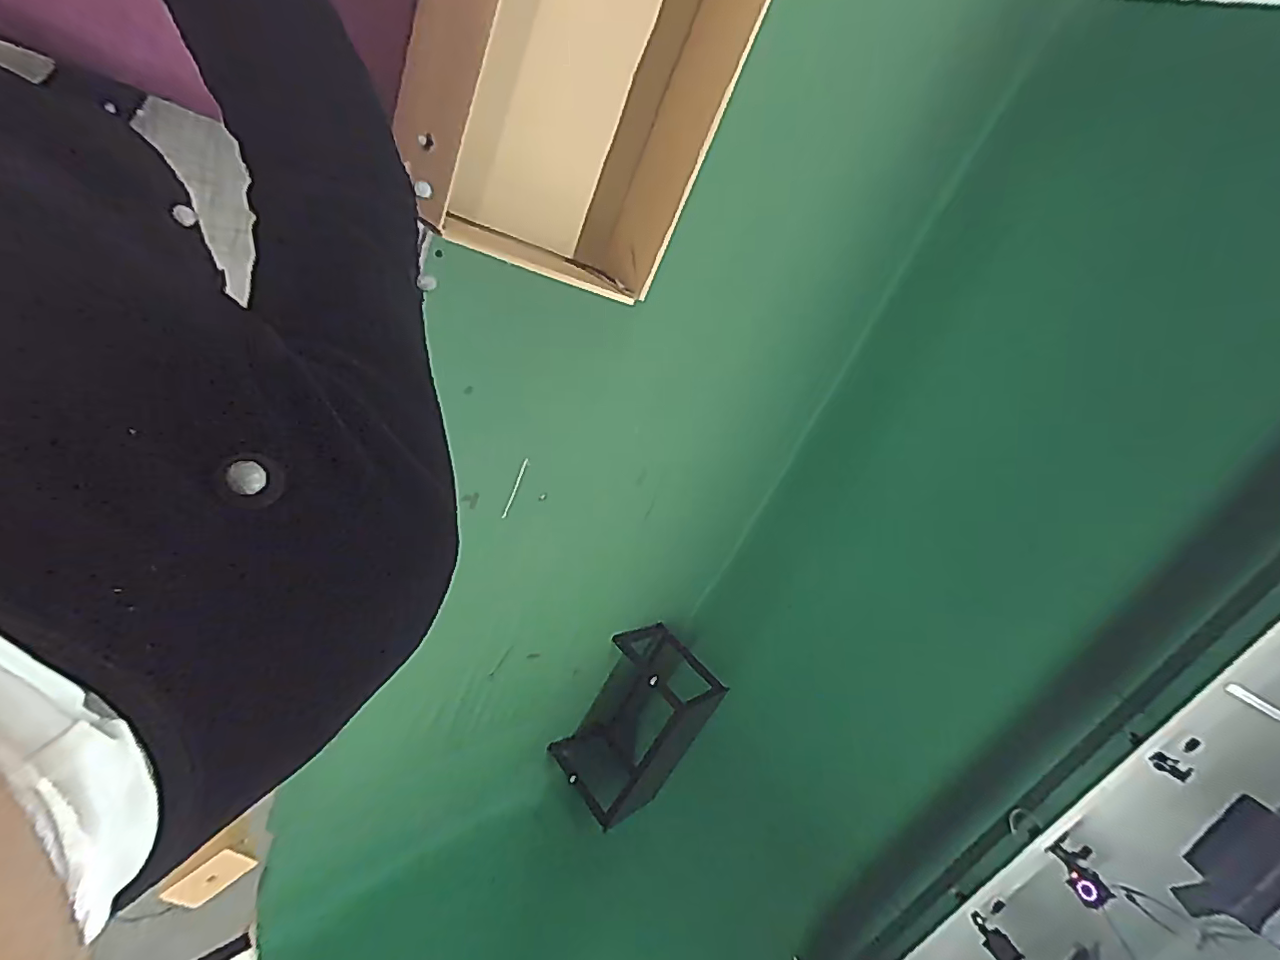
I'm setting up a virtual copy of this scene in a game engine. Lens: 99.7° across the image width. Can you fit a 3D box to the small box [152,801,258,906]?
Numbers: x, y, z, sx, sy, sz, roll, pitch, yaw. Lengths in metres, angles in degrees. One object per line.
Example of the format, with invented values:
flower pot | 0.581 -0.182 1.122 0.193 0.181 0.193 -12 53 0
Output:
small box | -1.236 1.058 1.540 0.168 0.176 0.179 -32 142 -28
